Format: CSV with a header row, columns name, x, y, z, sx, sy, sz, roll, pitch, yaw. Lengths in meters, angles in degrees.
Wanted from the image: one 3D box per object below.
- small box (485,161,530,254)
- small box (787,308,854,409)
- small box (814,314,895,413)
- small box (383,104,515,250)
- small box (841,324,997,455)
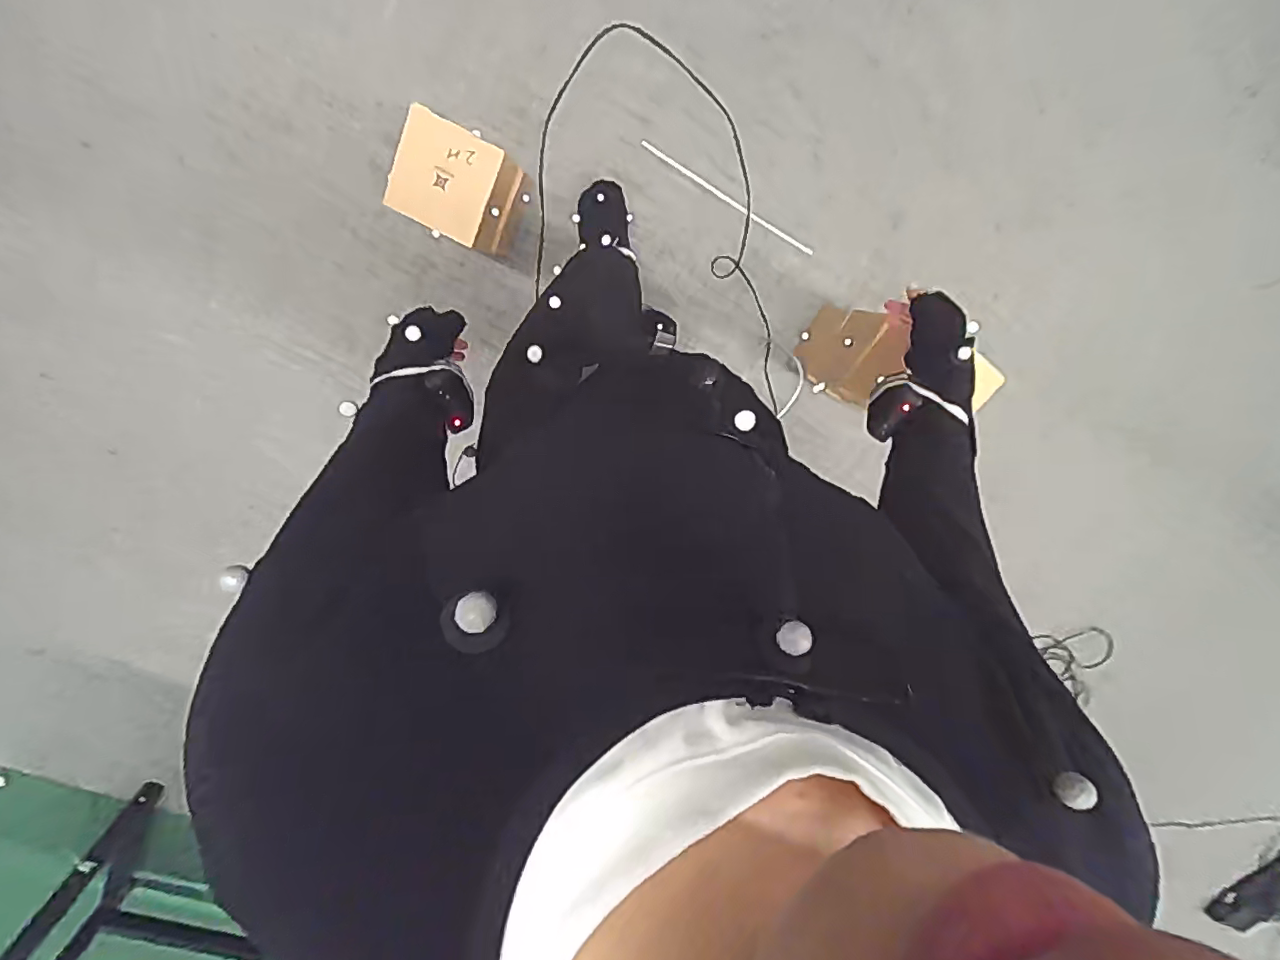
name,x,y,z,sx,sy,sz,roll,pitch,yaw
small box,-0.348,-0.612,1.171,0.168,0.176,0.179,24,108,-13
small box,0.495,-0.311,1.360,0.168,0.176,0.179,24,110,-17
small box,0.514,-0.250,1.205,0.168,0.176,0.179,28,106,-15
small box,-0.348,-0.553,1.018,0.168,0.176,0.179,24,108,-13
small box,0.532,-0.184,1.058,0.168,0.176,0.179,33,106,-16
